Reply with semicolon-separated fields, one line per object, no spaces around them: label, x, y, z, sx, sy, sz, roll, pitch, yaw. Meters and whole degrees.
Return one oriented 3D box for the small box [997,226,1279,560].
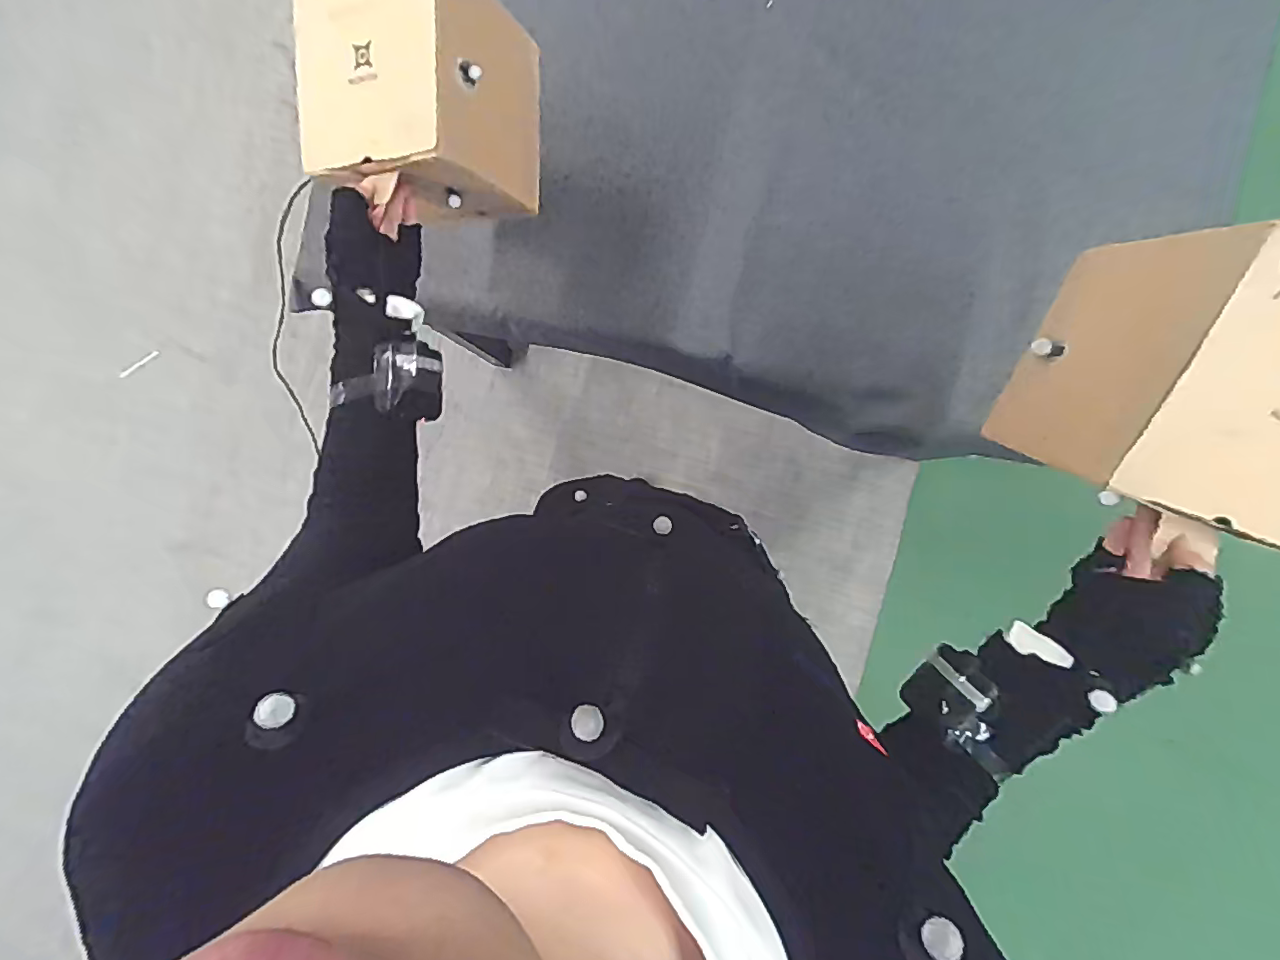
small box;0.420;-0.068;0.415;0.168;0.176;0.179;20;109;-2

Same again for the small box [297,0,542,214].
small box;-0.212;-0.389;0.553;0.168;0.176;0.179;4;98;20
